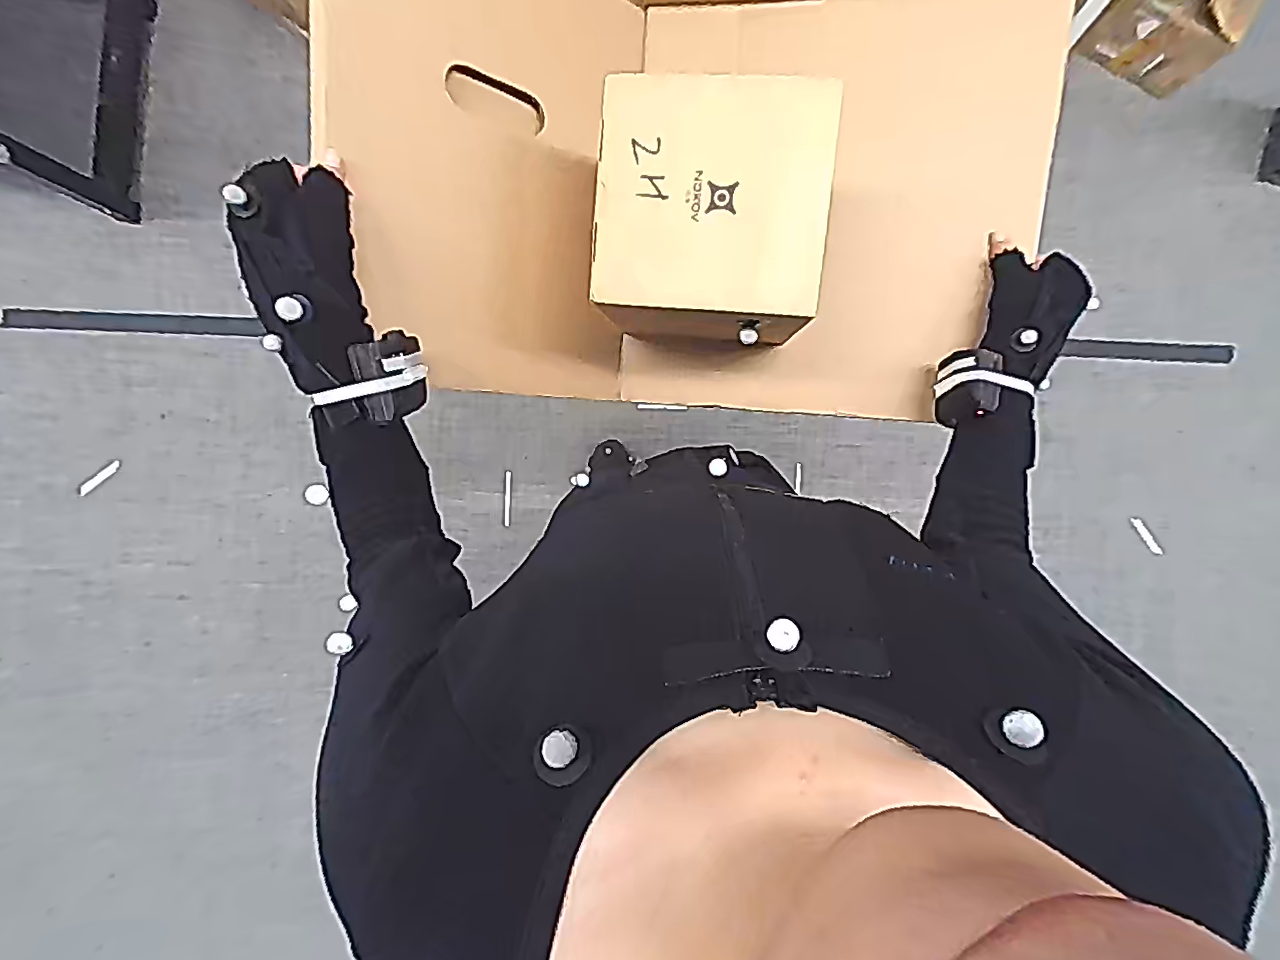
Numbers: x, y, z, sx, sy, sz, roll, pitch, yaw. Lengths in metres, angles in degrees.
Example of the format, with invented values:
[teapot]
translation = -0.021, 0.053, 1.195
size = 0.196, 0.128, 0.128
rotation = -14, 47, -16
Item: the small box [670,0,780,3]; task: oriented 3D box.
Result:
[small box]
translation = 0.079, -0.542, 0.447
size = 0.179, 0.176, 0.168
rotation = 4, 98, 6
